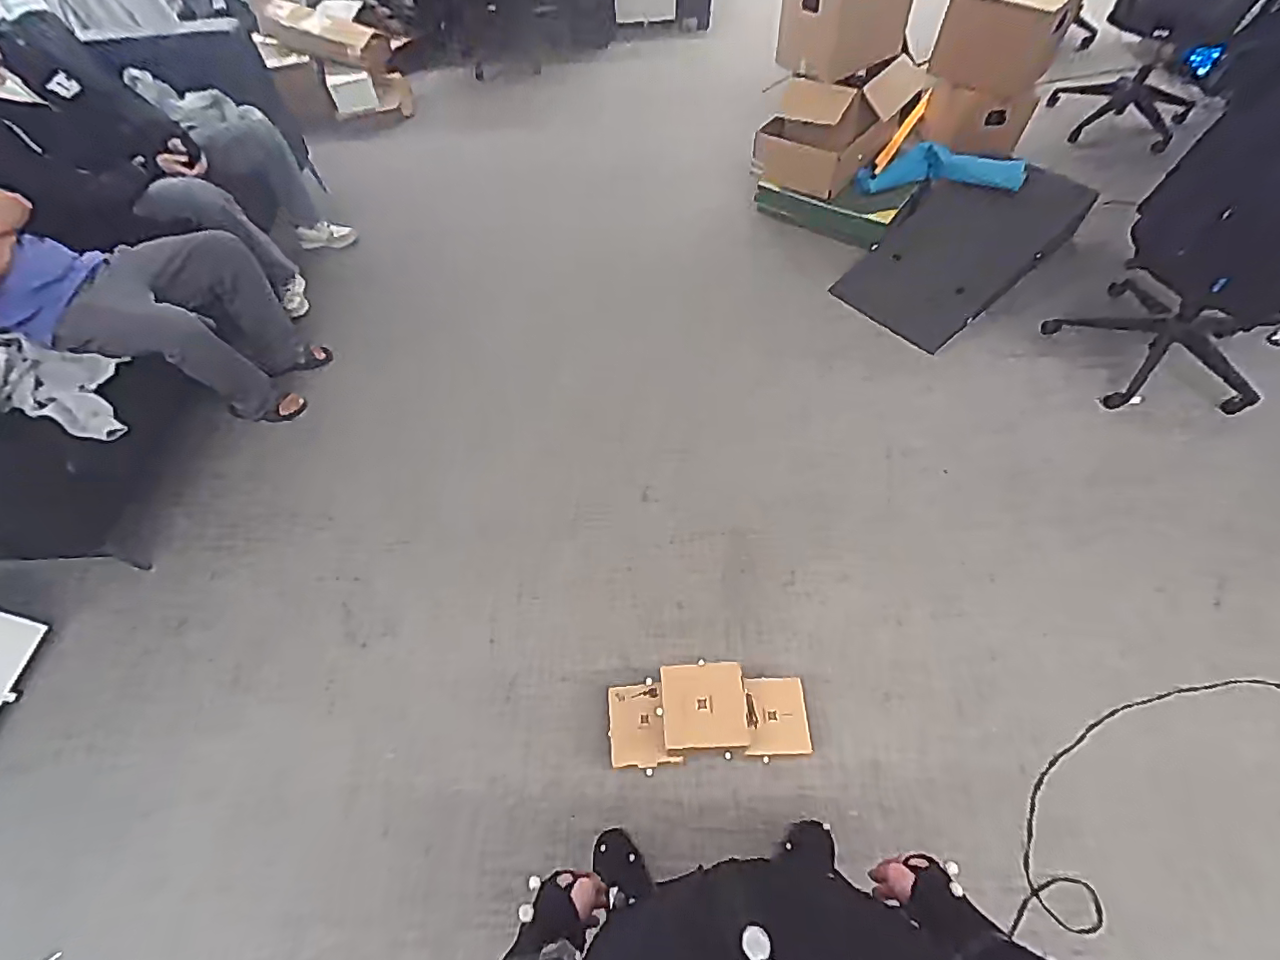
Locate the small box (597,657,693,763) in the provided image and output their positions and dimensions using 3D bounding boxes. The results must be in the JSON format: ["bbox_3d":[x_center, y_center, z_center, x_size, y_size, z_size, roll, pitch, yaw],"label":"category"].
[{"bbox_3d":[0.020,0.579,1.348,0.179,0.176,0.168,-32,59,-12],"label":"small box"}]

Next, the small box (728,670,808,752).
[{"bbox_3d":[0.306,0.572,1.332,0.179,0.176,0.168,1,61,6],"label":"small box"}]
